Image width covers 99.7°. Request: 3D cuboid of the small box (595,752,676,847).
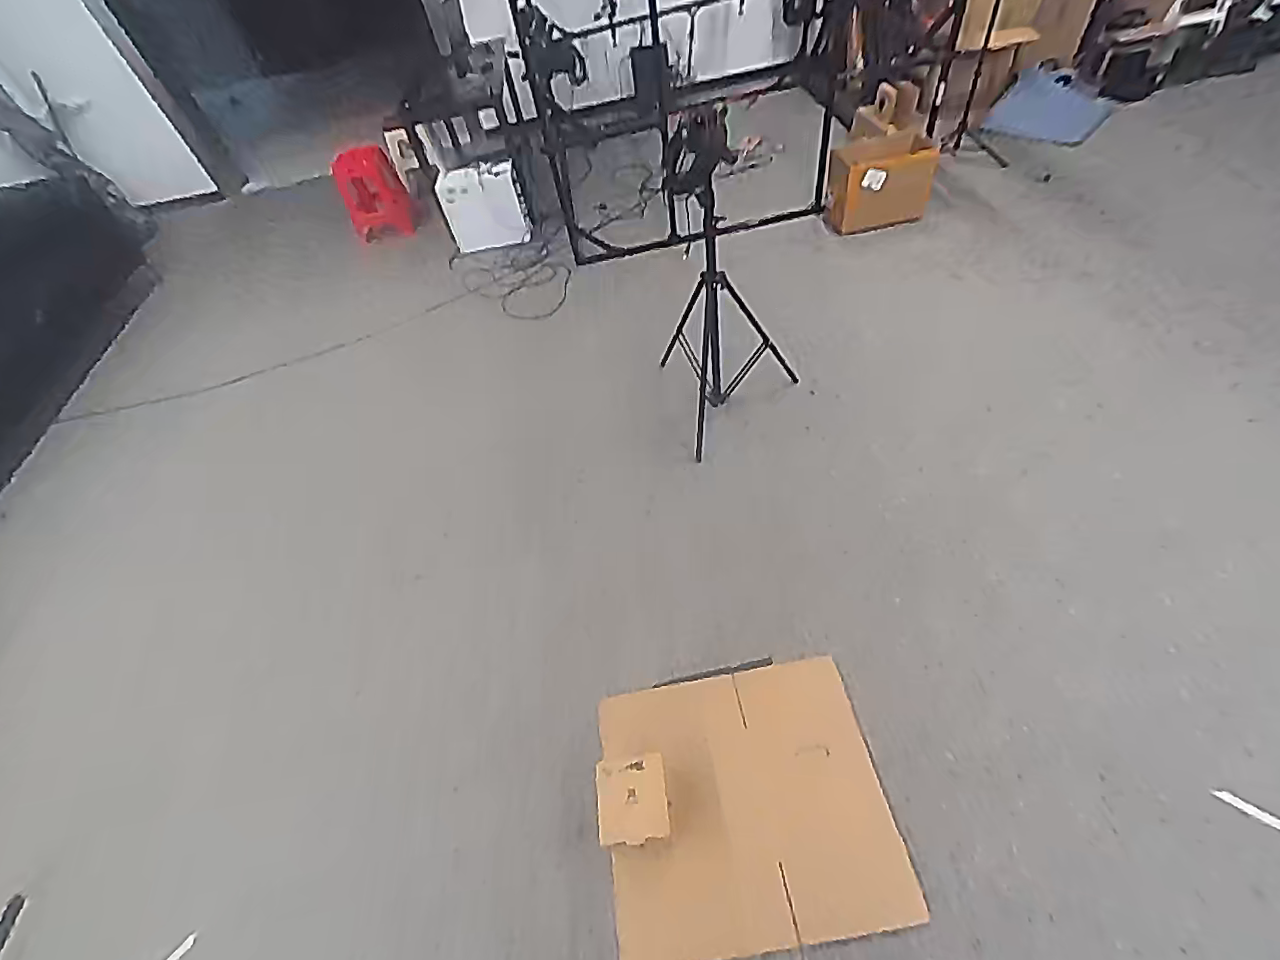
[{"bbox_3d":[-0.008,0.785,1.320,0.168,0.176,0.179,-10,52,3],"label":"small box"}]
